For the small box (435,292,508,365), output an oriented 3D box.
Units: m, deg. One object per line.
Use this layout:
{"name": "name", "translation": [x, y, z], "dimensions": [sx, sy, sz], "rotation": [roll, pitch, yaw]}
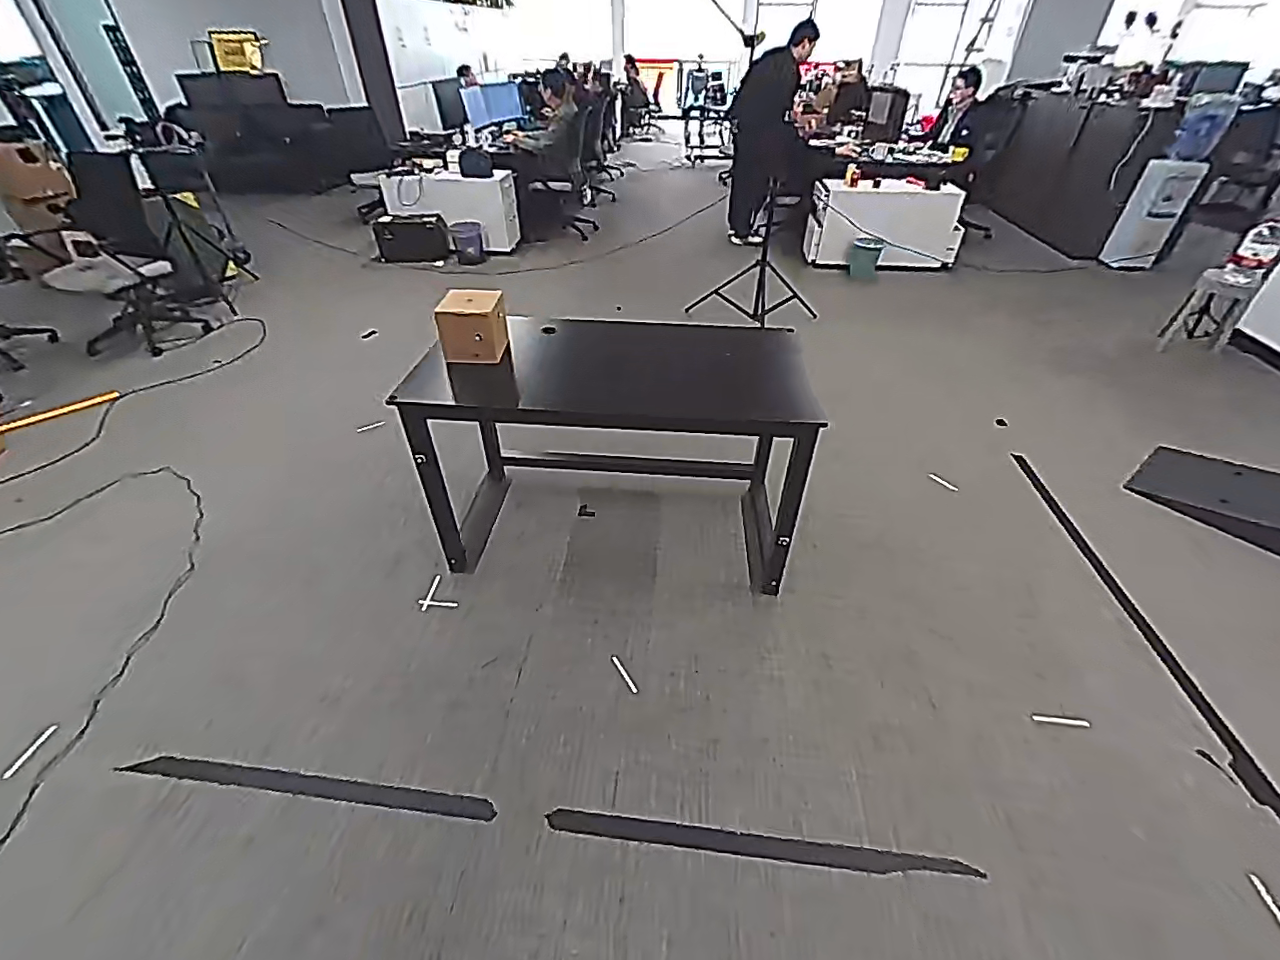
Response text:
{"name": "small box", "translation": [-0.514, -0.471, 1.681], "dimensions": [0.168, 0.176, 0.179], "rotation": [2, 39, -1]}
